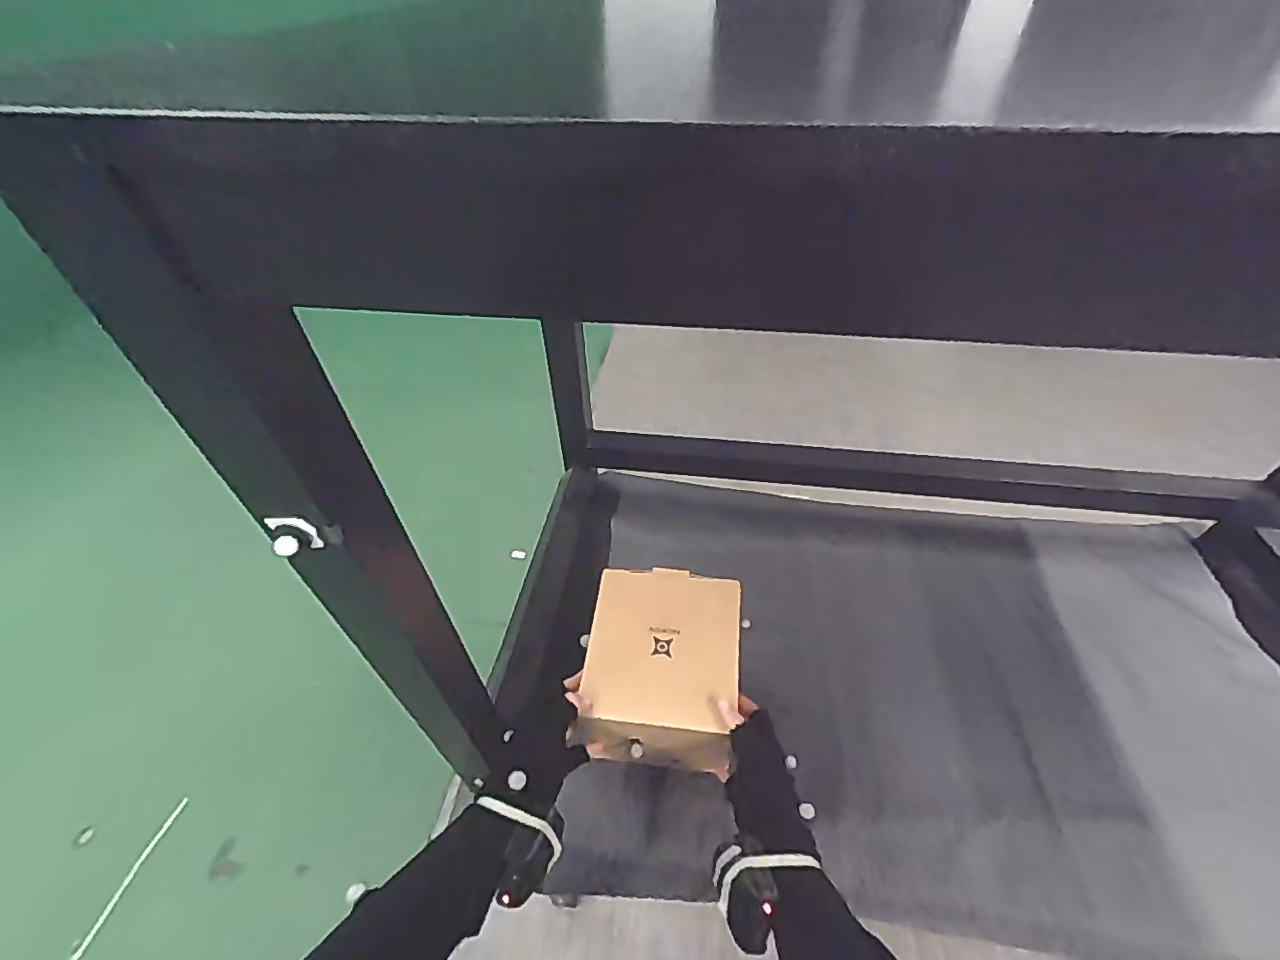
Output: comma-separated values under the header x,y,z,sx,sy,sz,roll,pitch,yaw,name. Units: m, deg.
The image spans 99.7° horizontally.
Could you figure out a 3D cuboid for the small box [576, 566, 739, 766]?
x,y,z,sx,sy,sz,roll,pitch,yaw,name
0.031,0.226,0.649,0.168,0.176,0.179,3,49,7,small box
